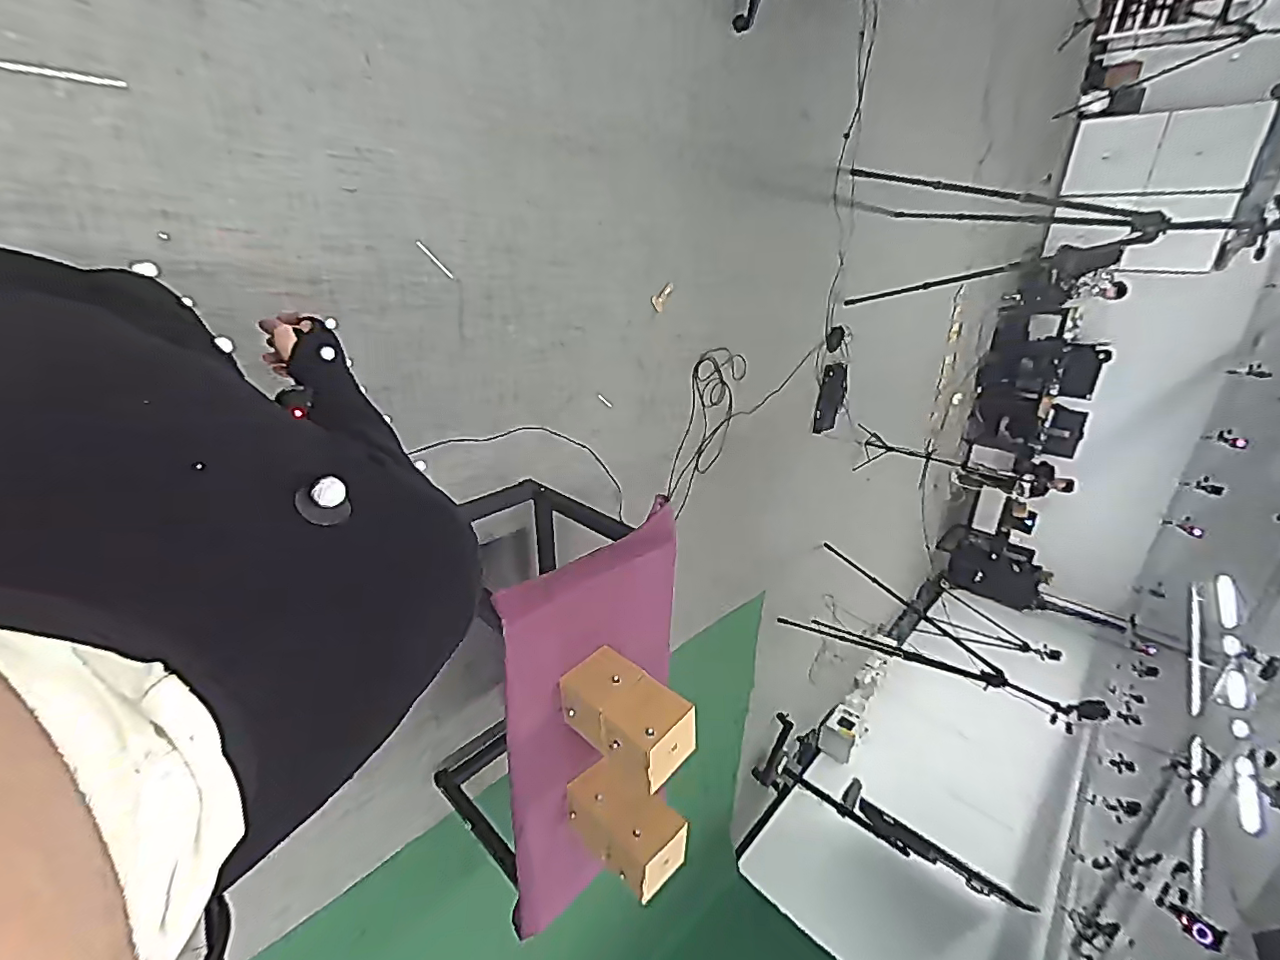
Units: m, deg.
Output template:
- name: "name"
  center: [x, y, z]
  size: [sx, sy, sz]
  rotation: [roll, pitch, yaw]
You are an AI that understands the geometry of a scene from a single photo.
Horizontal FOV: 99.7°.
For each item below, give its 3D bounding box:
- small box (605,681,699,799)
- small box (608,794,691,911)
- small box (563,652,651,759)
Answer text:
- name: "small box"
  center: [0.032, 0.651, 1.378]
  size: [0.179, 0.176, 0.168]
  rotation: [-28, 126, -38]
- name: "small box"
  center: [0.023, 1.047, 1.536]
  size: [0.179, 0.176, 0.168]
  rotation: [-18, 119, -43]
- name: "small box"
  center: [-0.088, 0.605, 1.478]
  size: [0.179, 0.176, 0.168]
  rotation: [-25, 123, -40]
